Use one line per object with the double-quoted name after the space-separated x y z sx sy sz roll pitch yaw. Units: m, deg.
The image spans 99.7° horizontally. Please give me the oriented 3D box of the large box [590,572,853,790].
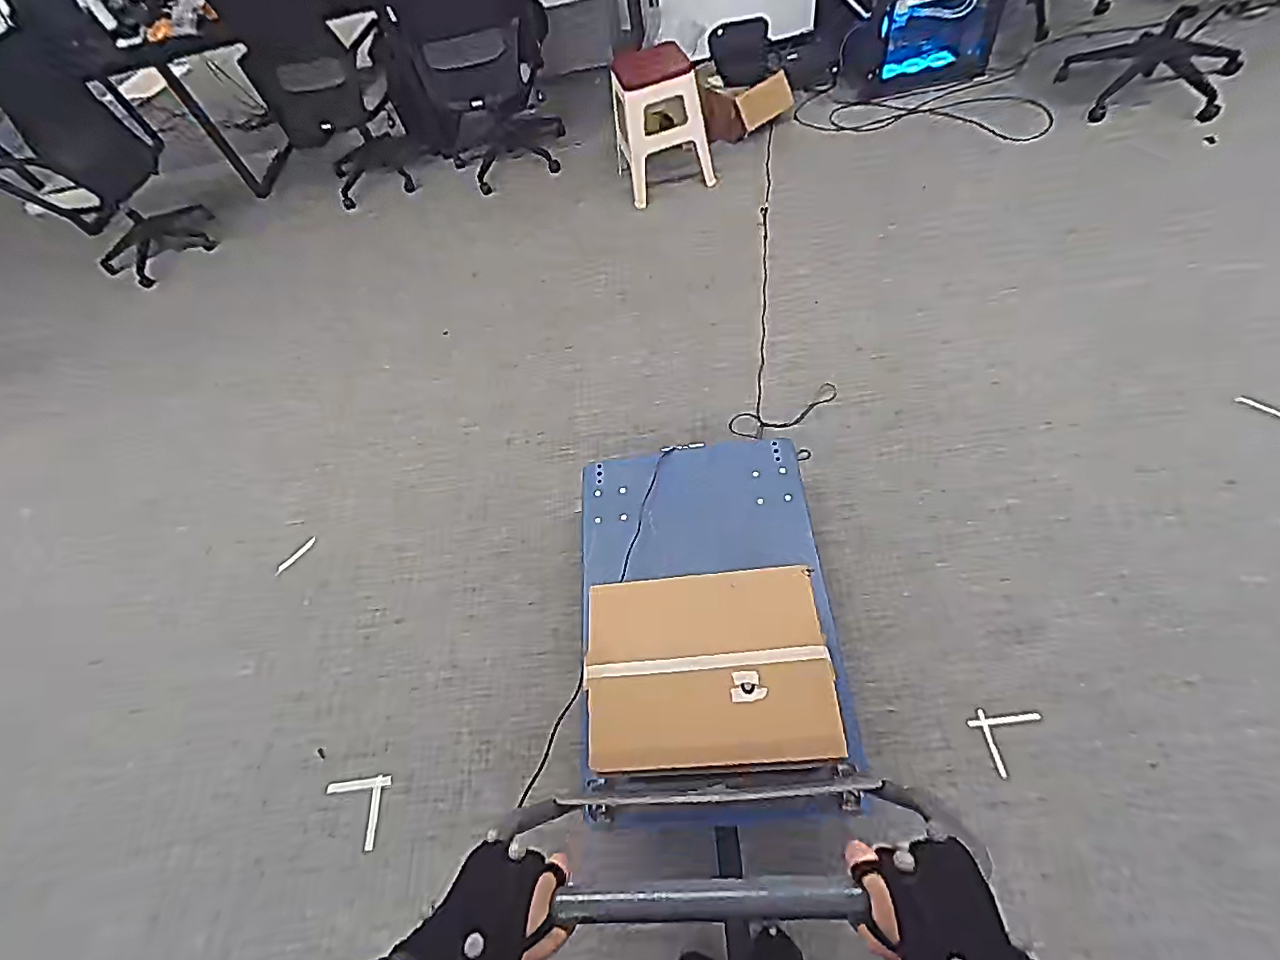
0.134 0.392 1.020 0.408 0.320 0.320 -7 60 6 "large box"
